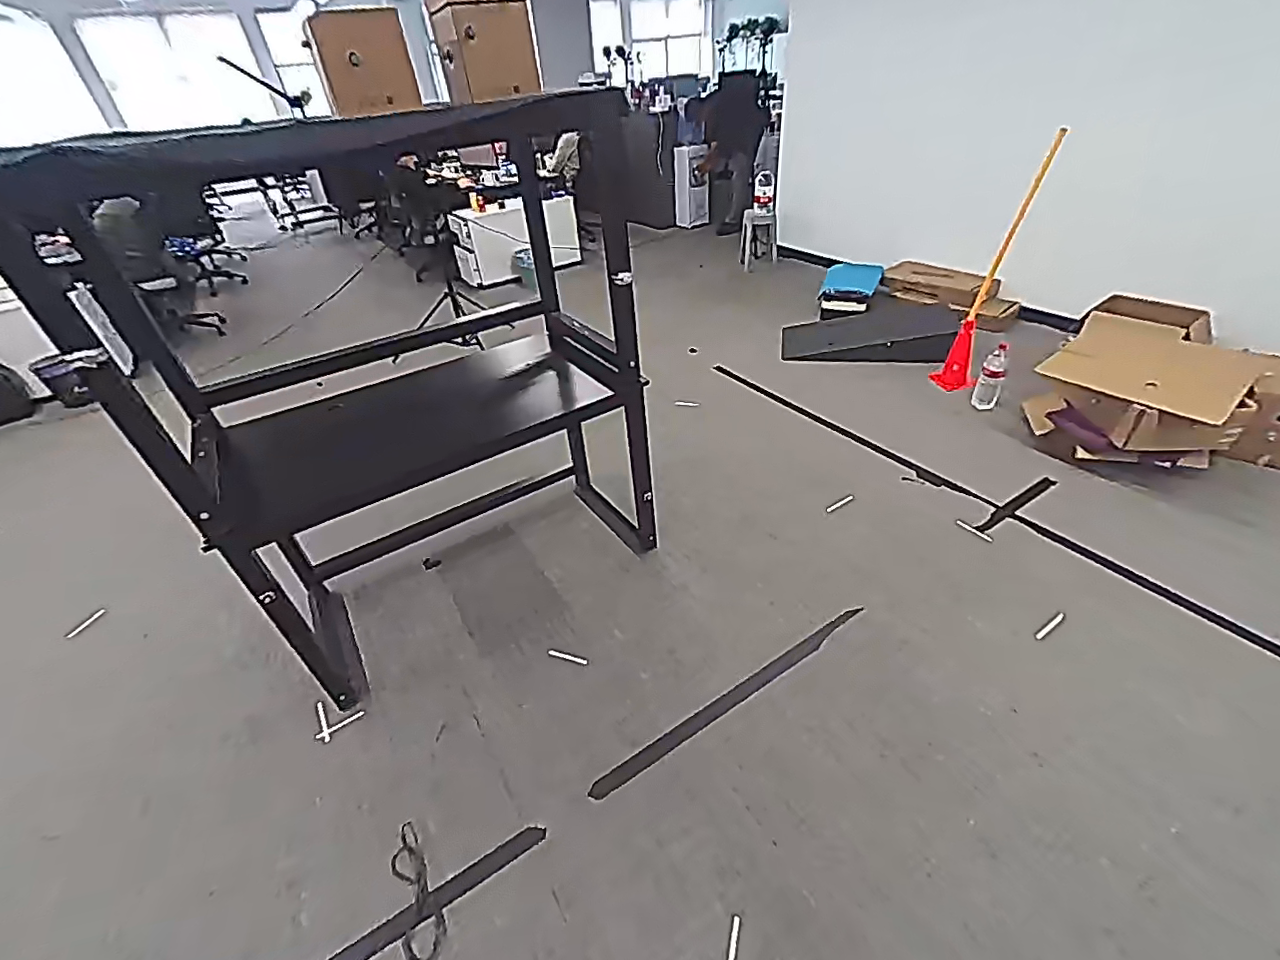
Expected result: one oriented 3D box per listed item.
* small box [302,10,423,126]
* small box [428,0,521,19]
[{"bbox_3d":[-0.564,-0.837,1.108,0.168,0.176,0.179,-23,39,-21],"label":"small box"},{"bbox_3d":[-0.349,-1.056,1.095,0.179,0.176,0.168,-25,39,-22],"label":"small box"}]
